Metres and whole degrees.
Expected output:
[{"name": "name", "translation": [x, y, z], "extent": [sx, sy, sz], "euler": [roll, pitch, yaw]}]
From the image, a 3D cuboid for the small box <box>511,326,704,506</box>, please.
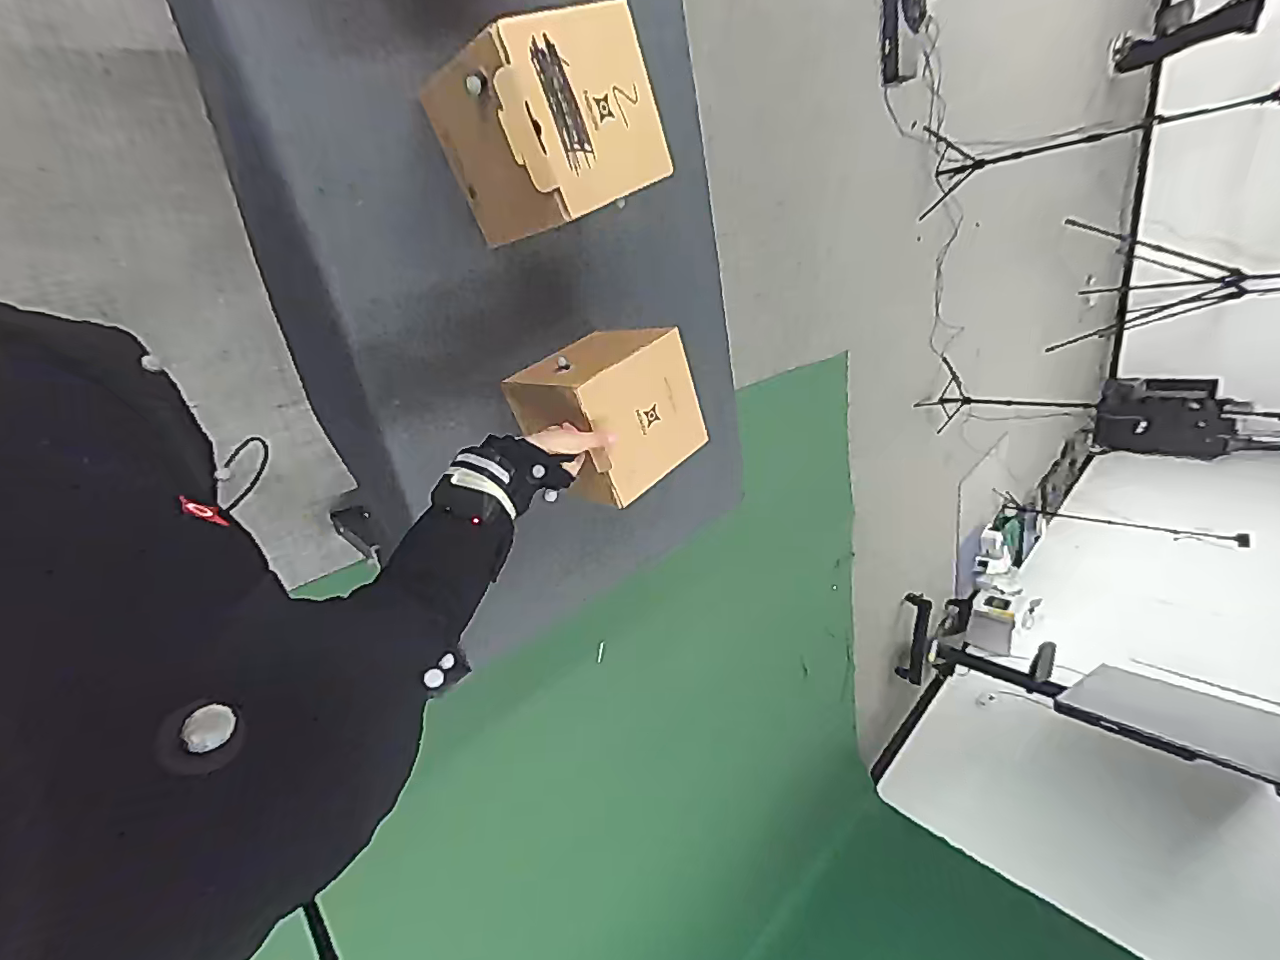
[{"name": "small box", "translation": [-0.047, -0.091, 0.719], "extent": [0.179, 0.176, 0.168], "euler": [-39, 125, -31]}]
